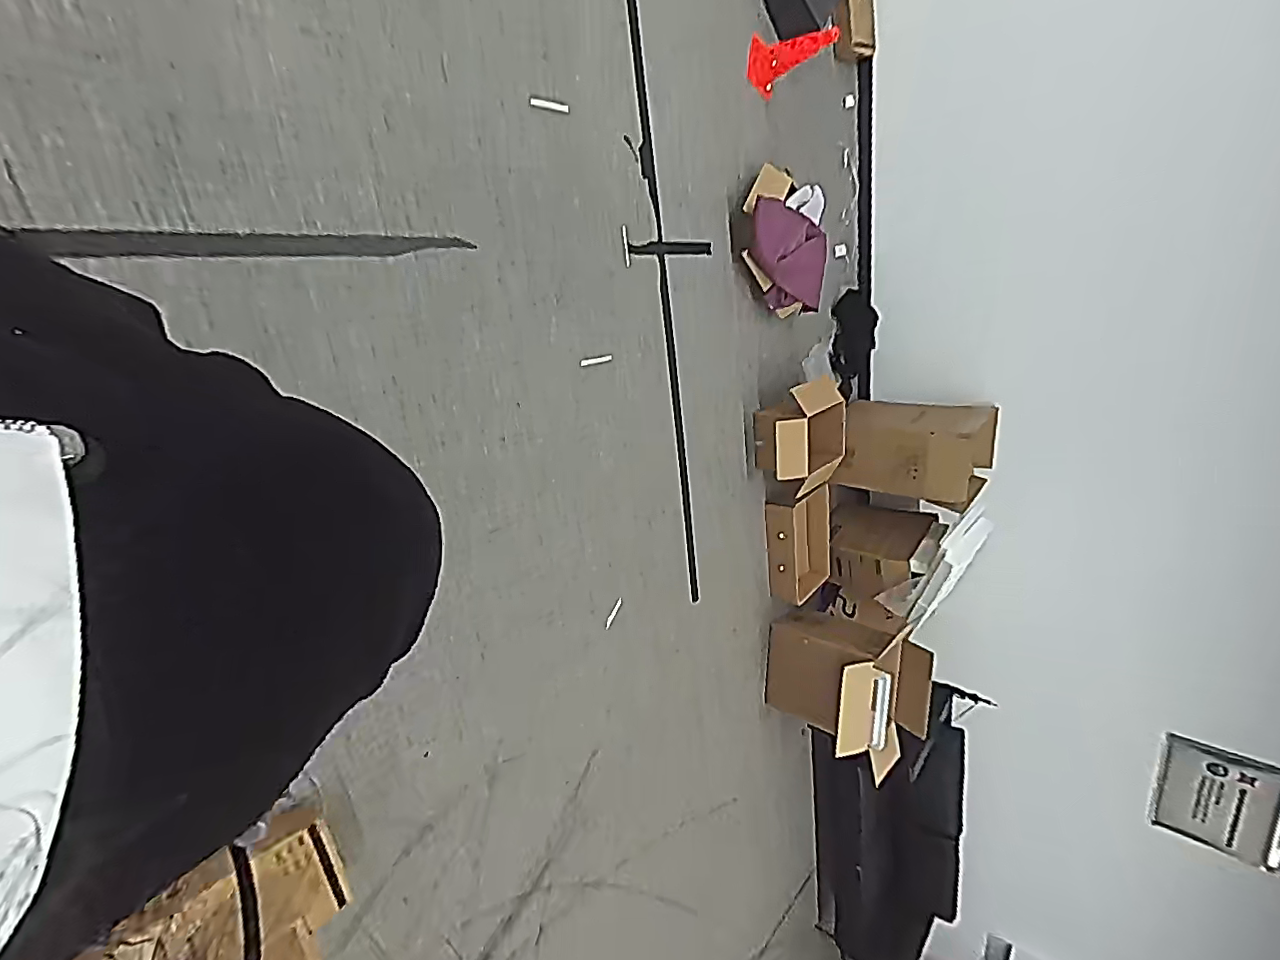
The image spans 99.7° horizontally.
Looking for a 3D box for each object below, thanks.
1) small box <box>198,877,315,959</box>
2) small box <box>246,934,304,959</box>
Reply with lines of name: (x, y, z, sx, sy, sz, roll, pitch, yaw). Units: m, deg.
small box: (-0.871, 1.069, 1.233, 0.168, 0.176, 0.179, -25, 114, -41)
small box: (-0.764, 1.104, 1.110, 0.168, 0.176, 0.179, -23, 114, -42)
